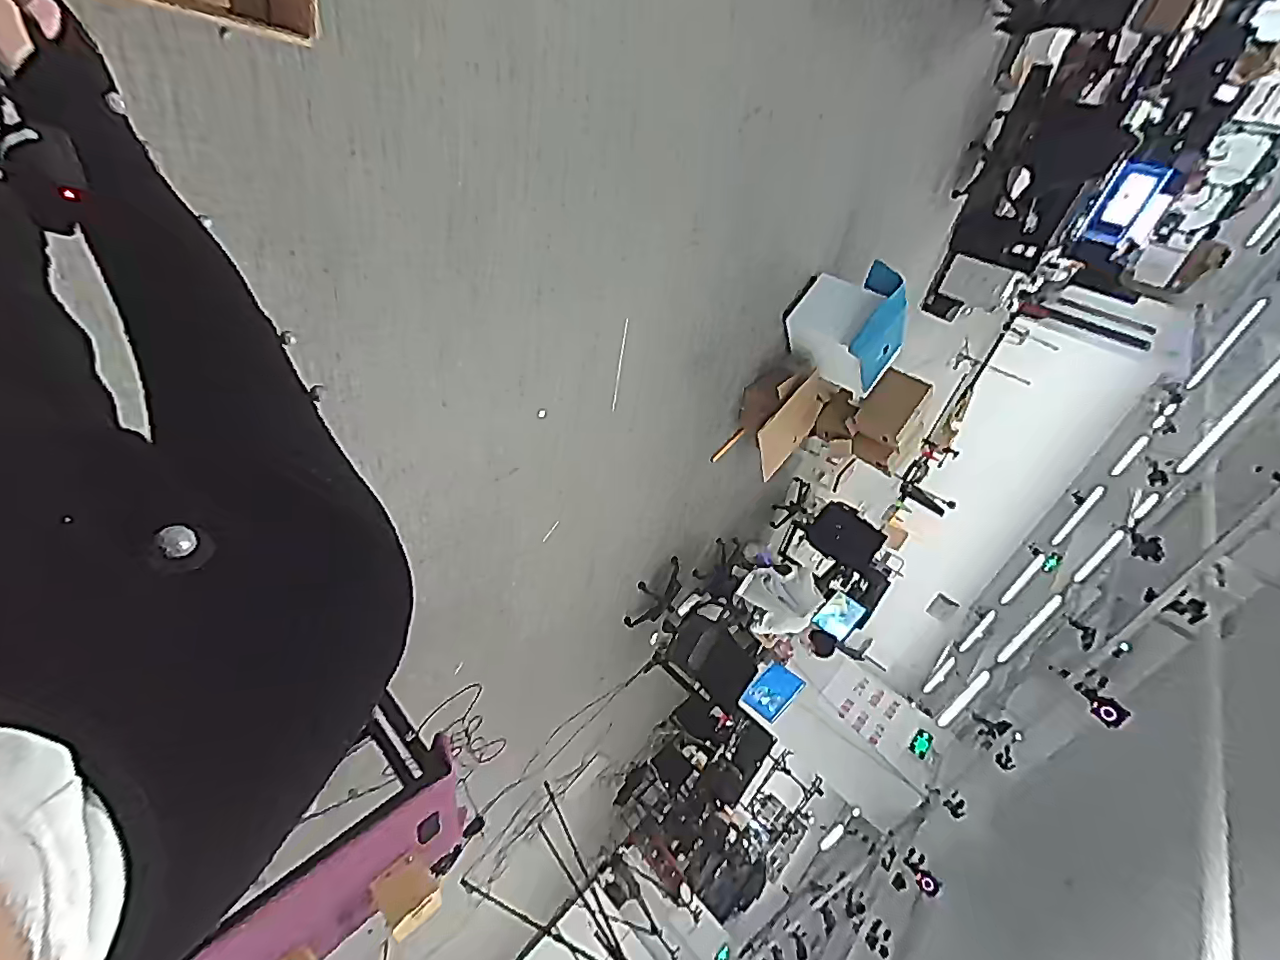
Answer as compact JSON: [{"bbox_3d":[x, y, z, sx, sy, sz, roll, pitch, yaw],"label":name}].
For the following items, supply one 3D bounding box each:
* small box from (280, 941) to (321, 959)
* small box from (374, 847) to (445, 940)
[{"bbox_3d":[-1.045,1.554,1.633,0.168,0.176,0.179,-28,141,-40],"label":"small box"},{"bbox_3d":[-0.789,1.407,1.849,0.168,0.176,0.179,-27,142,-39],"label":"small box"}]
